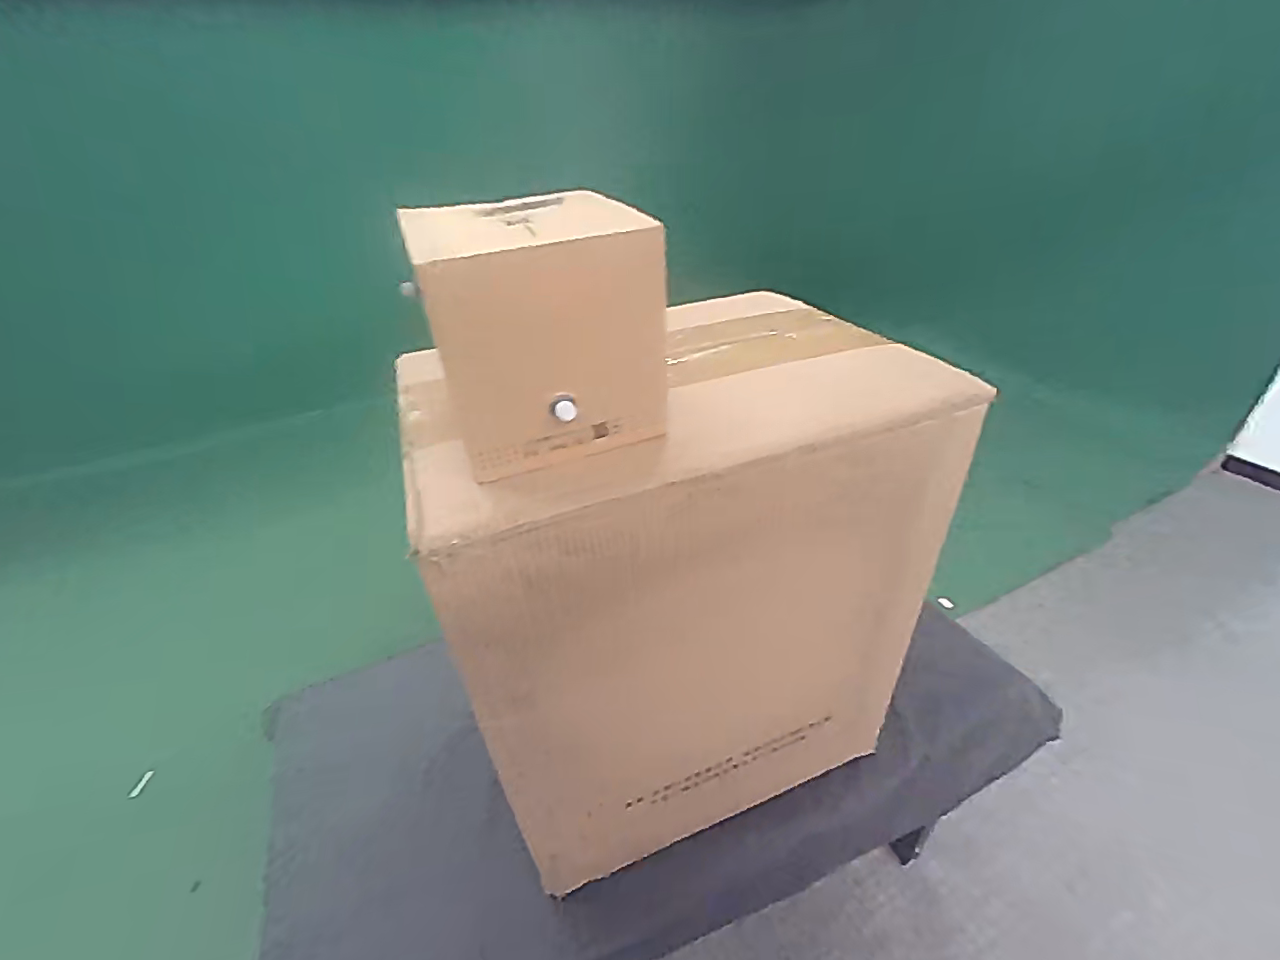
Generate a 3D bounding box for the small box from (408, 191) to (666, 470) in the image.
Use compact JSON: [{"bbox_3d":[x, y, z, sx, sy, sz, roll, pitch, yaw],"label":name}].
[{"bbox_3d":[-0.086,-0.134,0.460,0.168,0.176,0.179,-16,39,-16],"label":"small box"}]
